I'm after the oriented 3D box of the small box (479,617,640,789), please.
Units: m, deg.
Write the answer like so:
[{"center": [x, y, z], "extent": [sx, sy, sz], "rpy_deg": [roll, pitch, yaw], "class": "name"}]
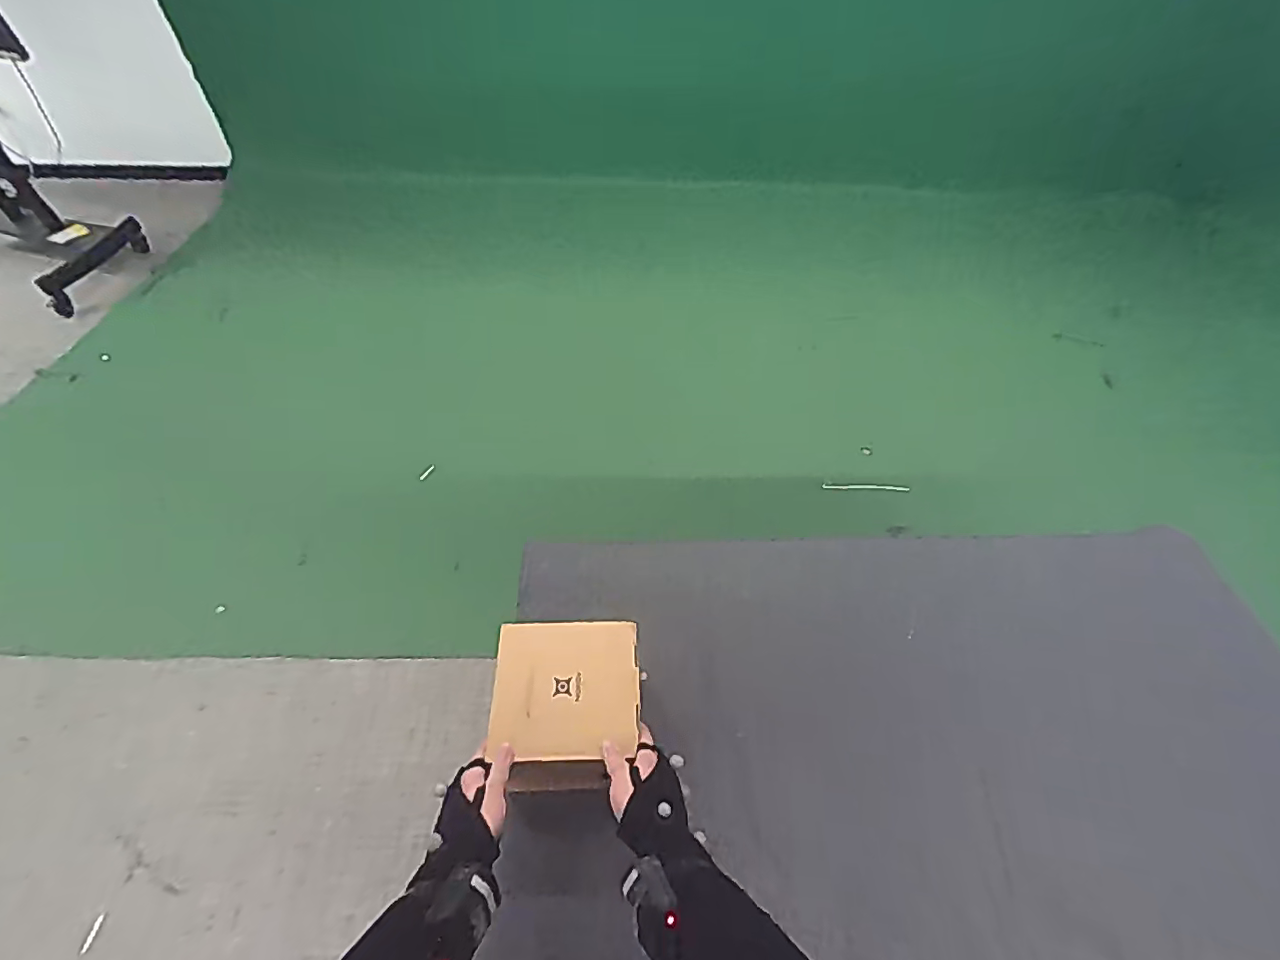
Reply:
[{"center": [-0.093, 0.290, 0.699], "extent": [0.179, 0.176, 0.168], "rpy_deg": [0, 50, -3], "class": "small box"}]
